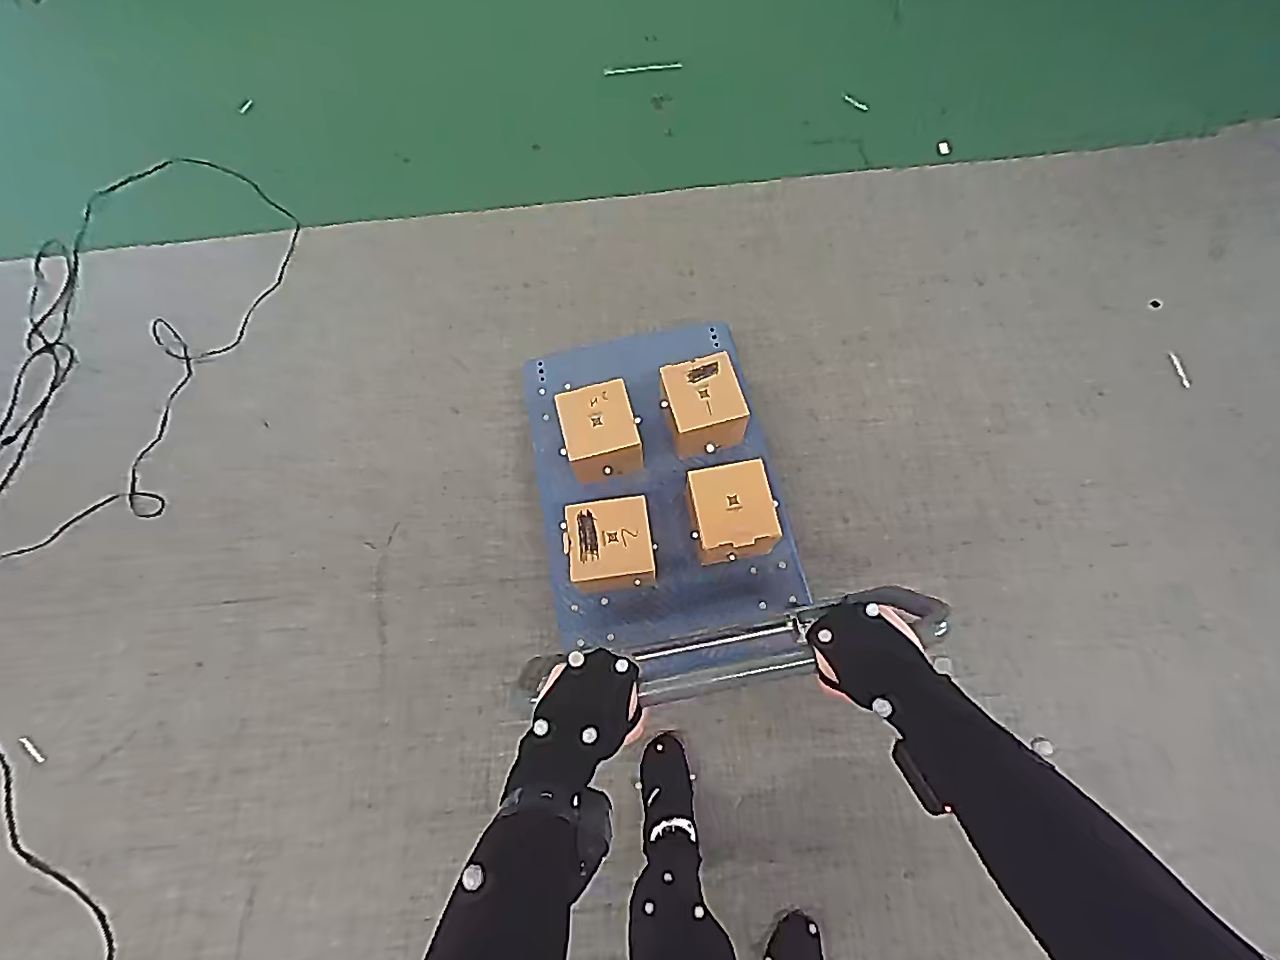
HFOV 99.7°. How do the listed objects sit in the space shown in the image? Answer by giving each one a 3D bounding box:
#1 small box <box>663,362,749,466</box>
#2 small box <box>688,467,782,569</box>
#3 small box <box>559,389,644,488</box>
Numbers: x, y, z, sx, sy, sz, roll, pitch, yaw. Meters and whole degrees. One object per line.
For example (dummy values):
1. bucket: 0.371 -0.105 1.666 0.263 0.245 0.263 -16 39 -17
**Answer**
1. small box: 0.154 -0.157 1.326 0.168 0.176 0.179 -15 70 -1
2. small box: 0.206 0.091 1.231 0.168 0.176 0.179 -11 70 -1
3. small box: -0.089 -0.091 1.316 0.168 0.176 0.179 -15 69 -3
